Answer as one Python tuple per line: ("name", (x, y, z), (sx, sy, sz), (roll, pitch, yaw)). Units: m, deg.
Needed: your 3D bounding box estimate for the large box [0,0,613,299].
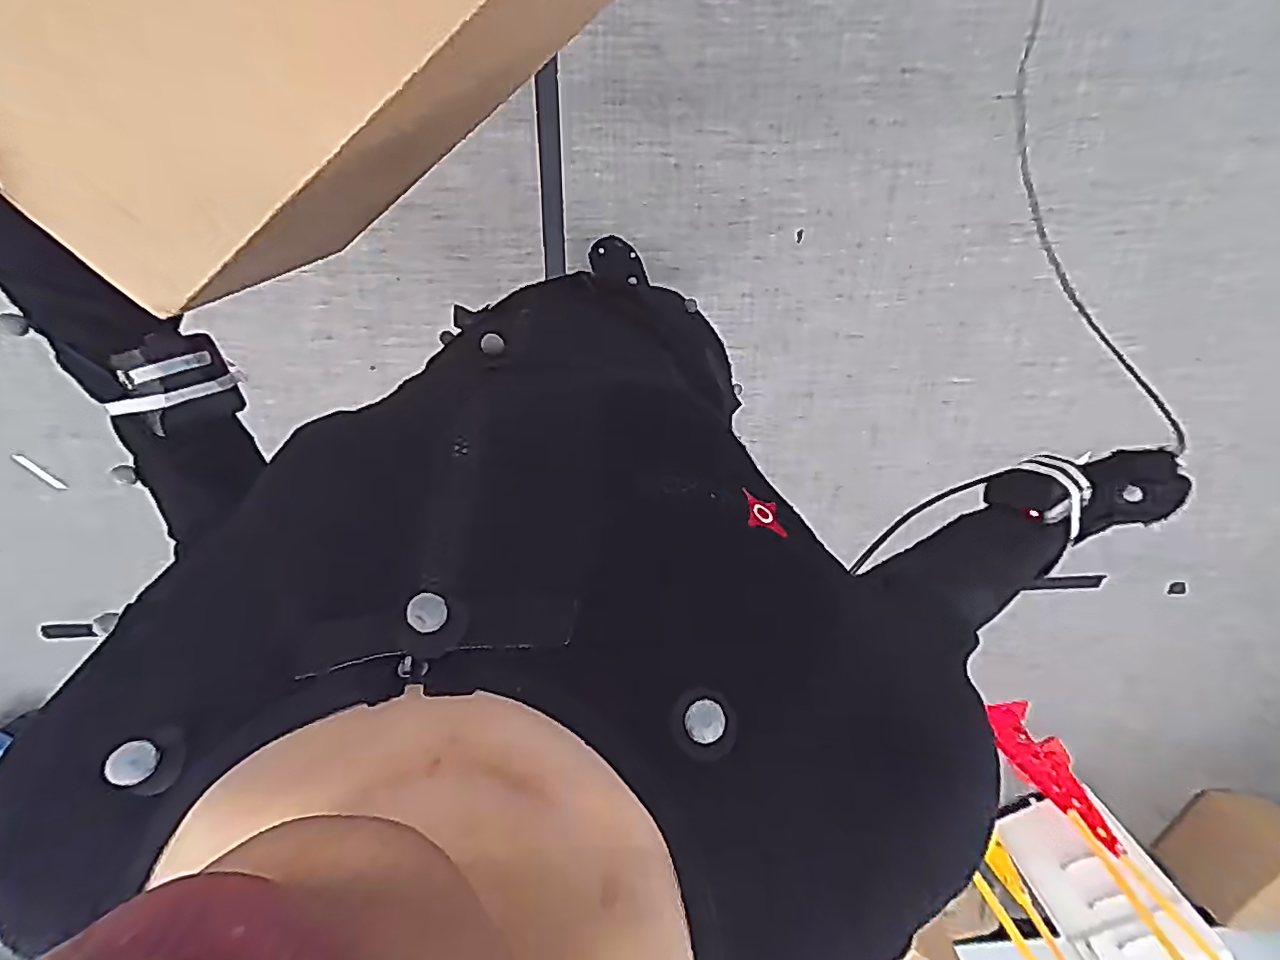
("large box", (-0.253, -0.402, 0.386), (0.408, 0.320, 0.320), (-34, 118, 13))
